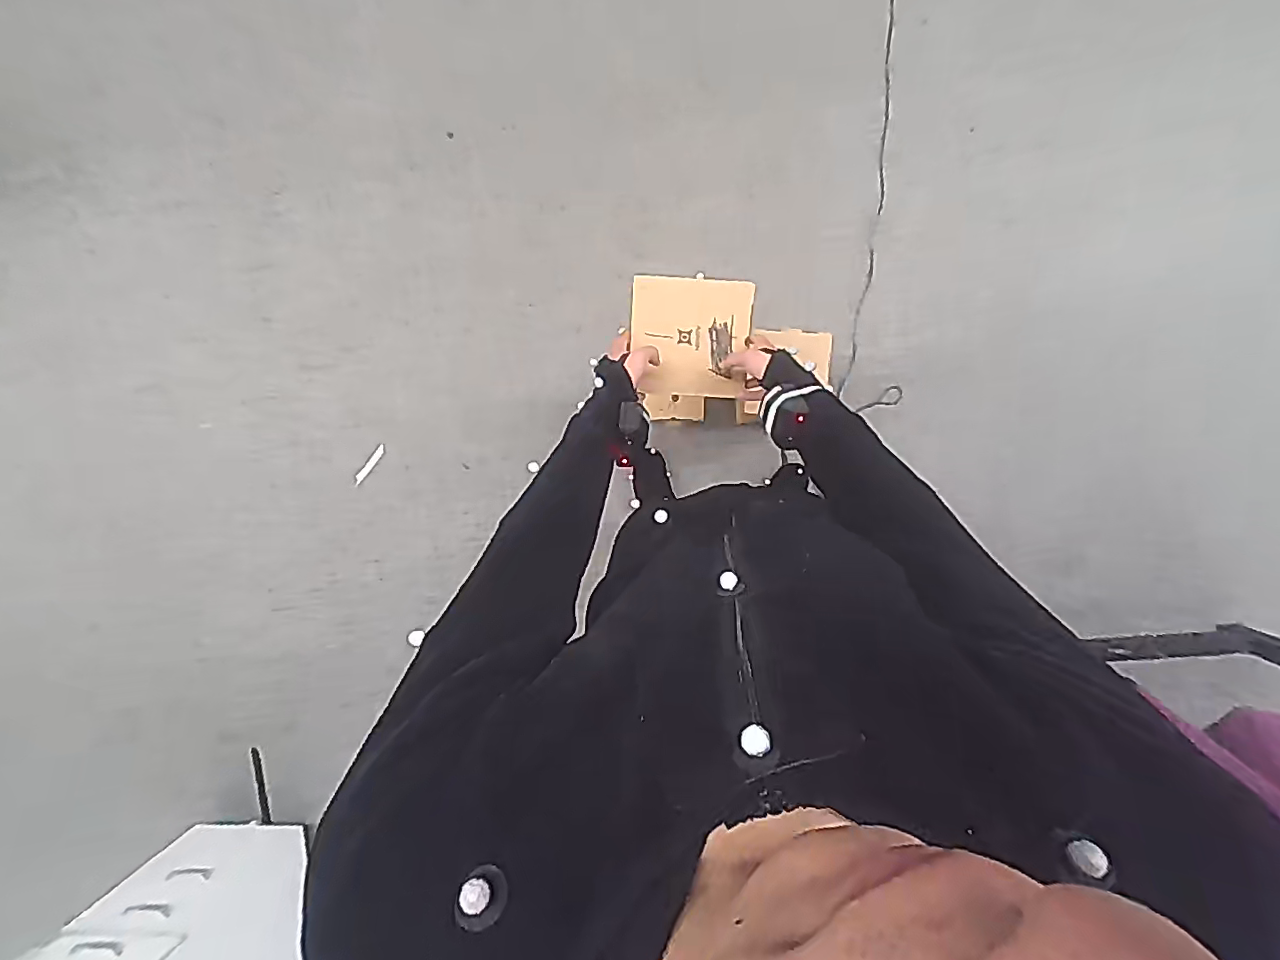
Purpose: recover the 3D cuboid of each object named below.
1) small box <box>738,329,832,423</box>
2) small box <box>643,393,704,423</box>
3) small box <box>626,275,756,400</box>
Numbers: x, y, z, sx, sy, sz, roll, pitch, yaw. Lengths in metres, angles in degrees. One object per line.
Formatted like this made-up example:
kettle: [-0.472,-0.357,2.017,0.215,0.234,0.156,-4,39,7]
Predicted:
small box: [0.310,-0.222,1.188,0.168,0.176,0.179,5,94,6]
small box: [0.098,-0.254,1.533,0.168,0.176,0.179,0,95,6]
small box: [0.070,-0.222,0.855,0.179,0.176,0.168,3,103,-2]
